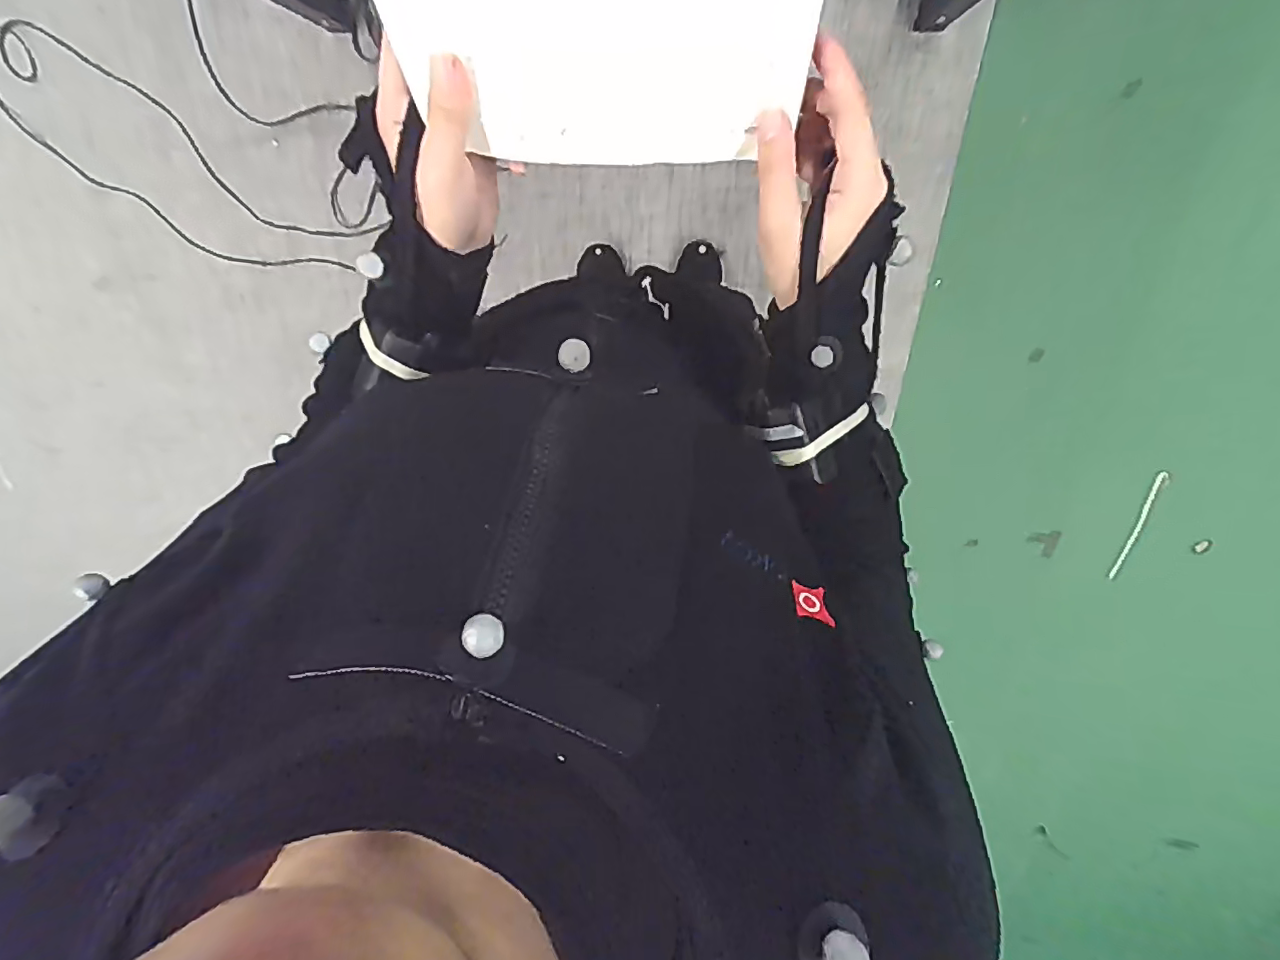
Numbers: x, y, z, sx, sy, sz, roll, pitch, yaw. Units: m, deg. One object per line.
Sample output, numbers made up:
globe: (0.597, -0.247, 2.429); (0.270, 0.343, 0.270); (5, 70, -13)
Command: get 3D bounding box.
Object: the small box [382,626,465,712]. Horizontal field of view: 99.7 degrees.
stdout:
small box: (-0.672, 0.583, 1.686); (0.179, 0.176, 0.168); (18, 116, -4)
